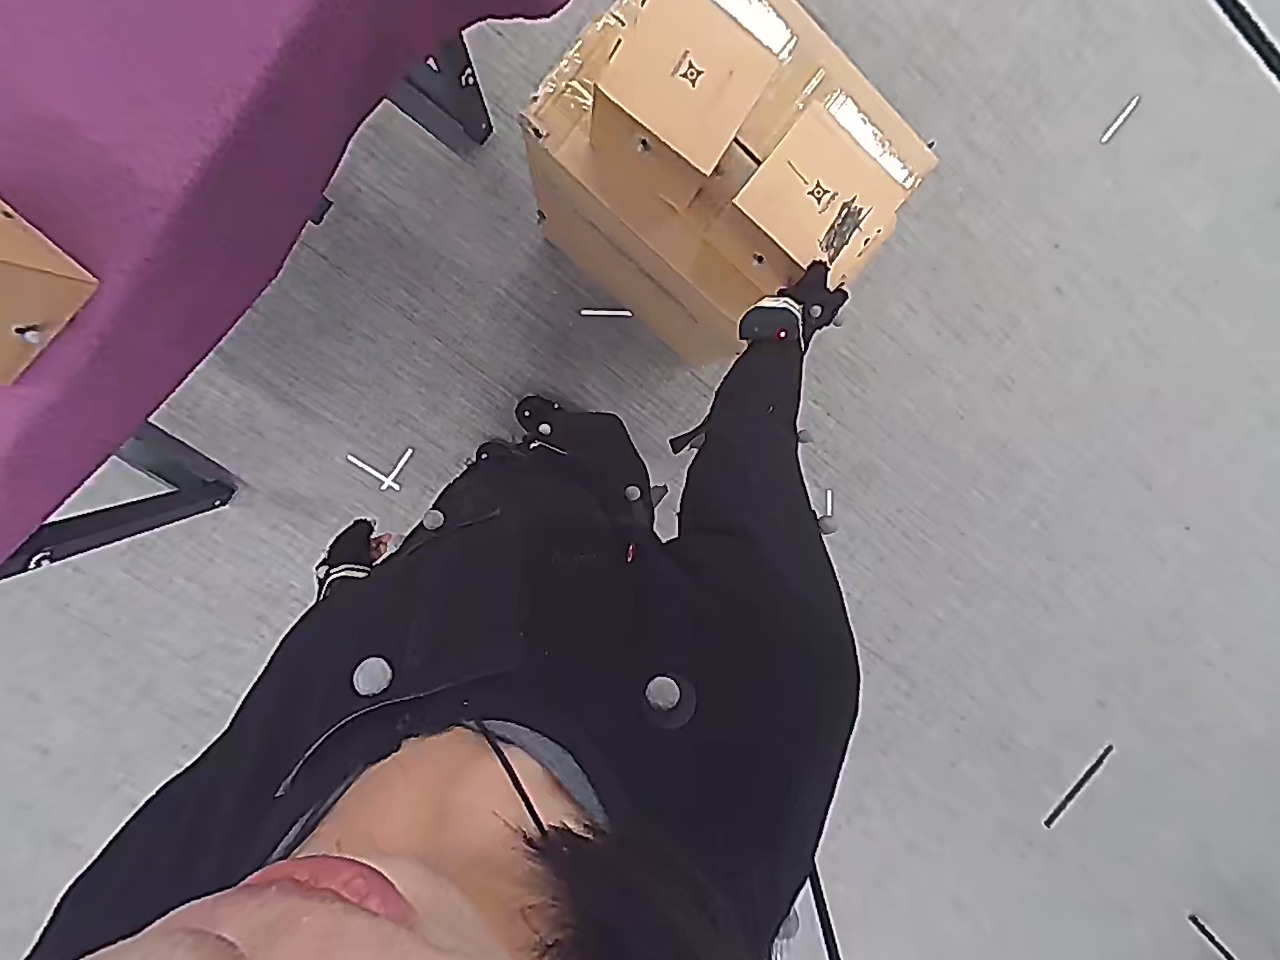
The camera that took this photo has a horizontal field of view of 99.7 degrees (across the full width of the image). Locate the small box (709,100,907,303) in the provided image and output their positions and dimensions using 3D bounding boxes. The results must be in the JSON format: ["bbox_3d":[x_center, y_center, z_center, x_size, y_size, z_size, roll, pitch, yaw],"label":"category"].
[{"bbox_3d":[0.226,-0.375,0.773,0.179,0.176,0.168,38,93,-9],"label":"small box"}]

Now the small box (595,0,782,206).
[{"bbox_3d":[0.050,-0.510,0.732,0.179,0.176,0.168,33,95,-12],"label":"small box"}]

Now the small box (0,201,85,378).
[{"bbox_3d":[-0.767,-0.226,0.571,0.168,0.176,0.179,44,91,-10],"label":"small box"}]
